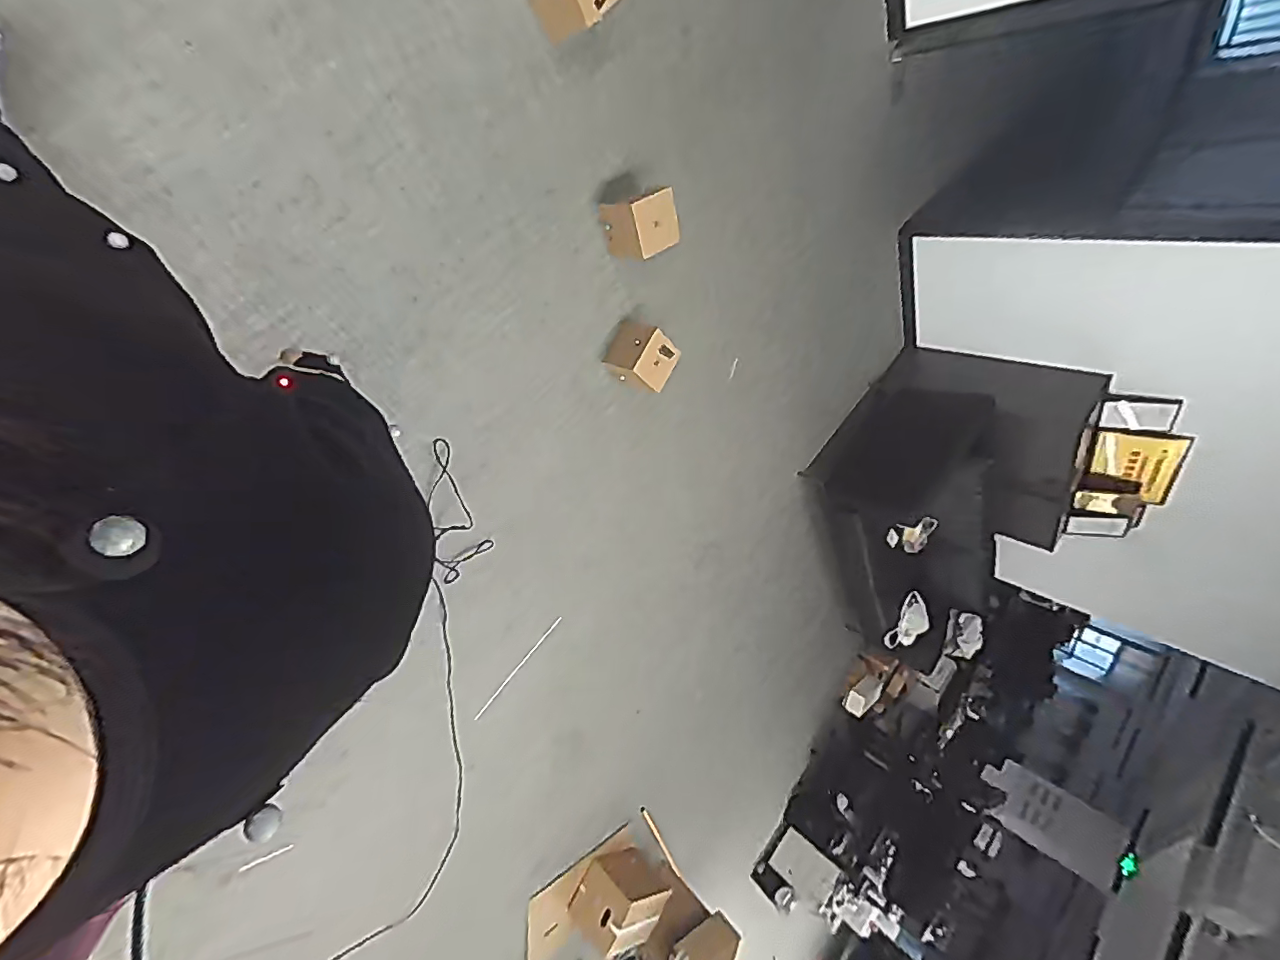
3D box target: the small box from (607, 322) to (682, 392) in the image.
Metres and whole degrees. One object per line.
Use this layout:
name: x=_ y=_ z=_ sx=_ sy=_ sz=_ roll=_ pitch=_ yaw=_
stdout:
small box: x=0.012 y=-0.442 z=1.926 sx=0.168 sy=0.176 sz=0.179 roll=33 pitch=84 yaw=-47

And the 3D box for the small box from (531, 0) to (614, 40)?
small box: x=-0.179 y=-1.254 z=1.348 sx=0.168 sy=0.176 sz=0.179 roll=-53 pitch=136 yaw=-13

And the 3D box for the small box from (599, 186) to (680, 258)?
small box: x=-0.001 y=-0.828 z=1.731 sx=0.179 sy=0.176 sz=0.168 roll=-38 pitch=131 yaw=-27
